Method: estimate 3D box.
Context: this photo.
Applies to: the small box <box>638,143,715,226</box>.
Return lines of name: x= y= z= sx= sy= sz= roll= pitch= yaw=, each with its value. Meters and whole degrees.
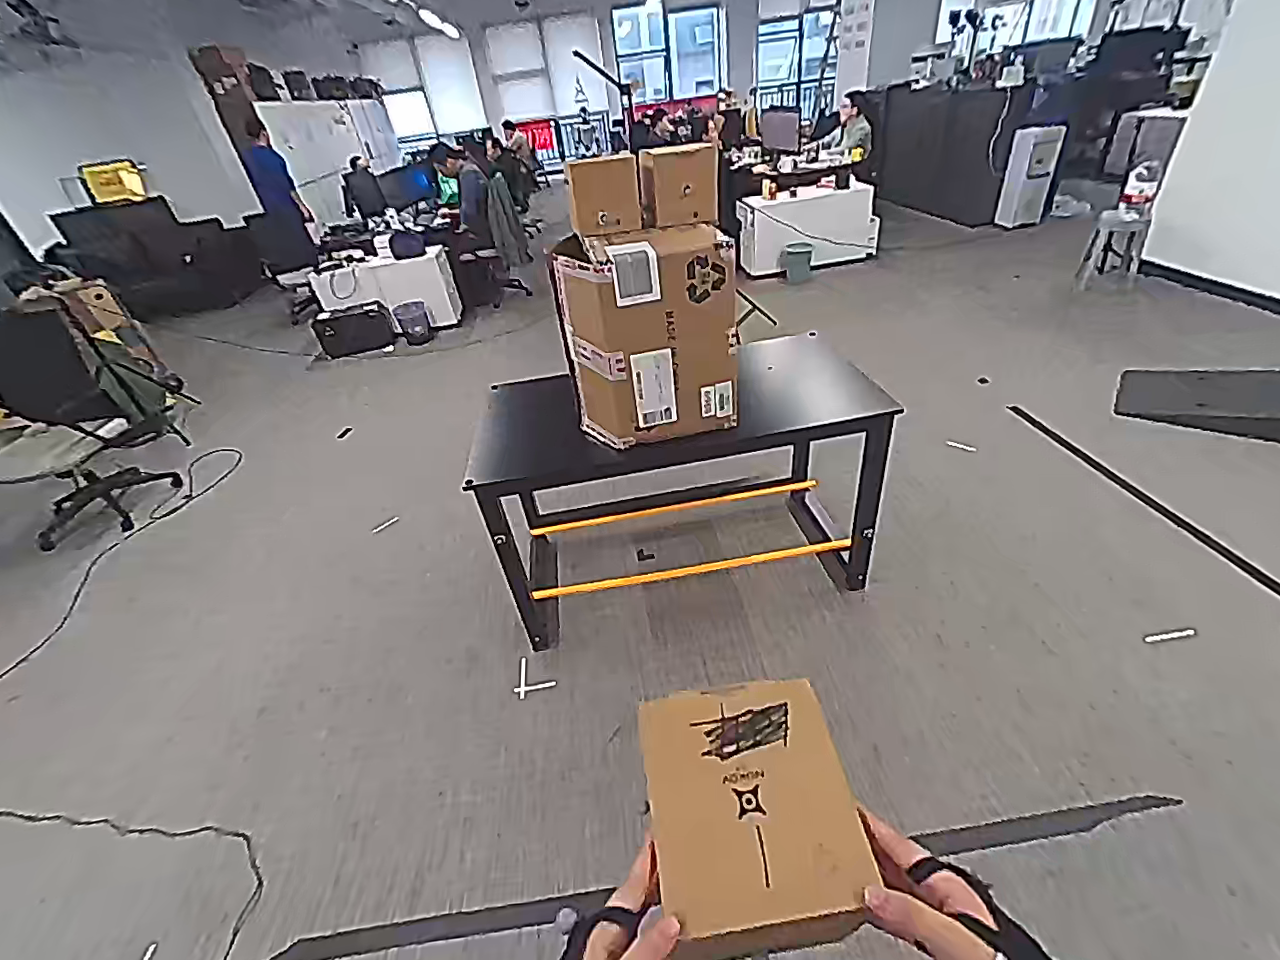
small box: x=0.097 y=-0.774 z=1.423 sx=0.168 sy=0.176 sz=0.179 roll=-10 pitch=36 yaw=-7

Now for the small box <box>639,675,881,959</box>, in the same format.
small box: x=0.091 y=0.313 z=0.506 sx=0.168 sy=0.176 sz=0.179 roll=-7 pitch=43 yaw=-3

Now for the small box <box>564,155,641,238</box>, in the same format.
small box: x=-0.099 y=-0.739 z=1.409 sx=0.168 sy=0.176 sz=0.179 roll=-13 pitch=34 yaw=-7
